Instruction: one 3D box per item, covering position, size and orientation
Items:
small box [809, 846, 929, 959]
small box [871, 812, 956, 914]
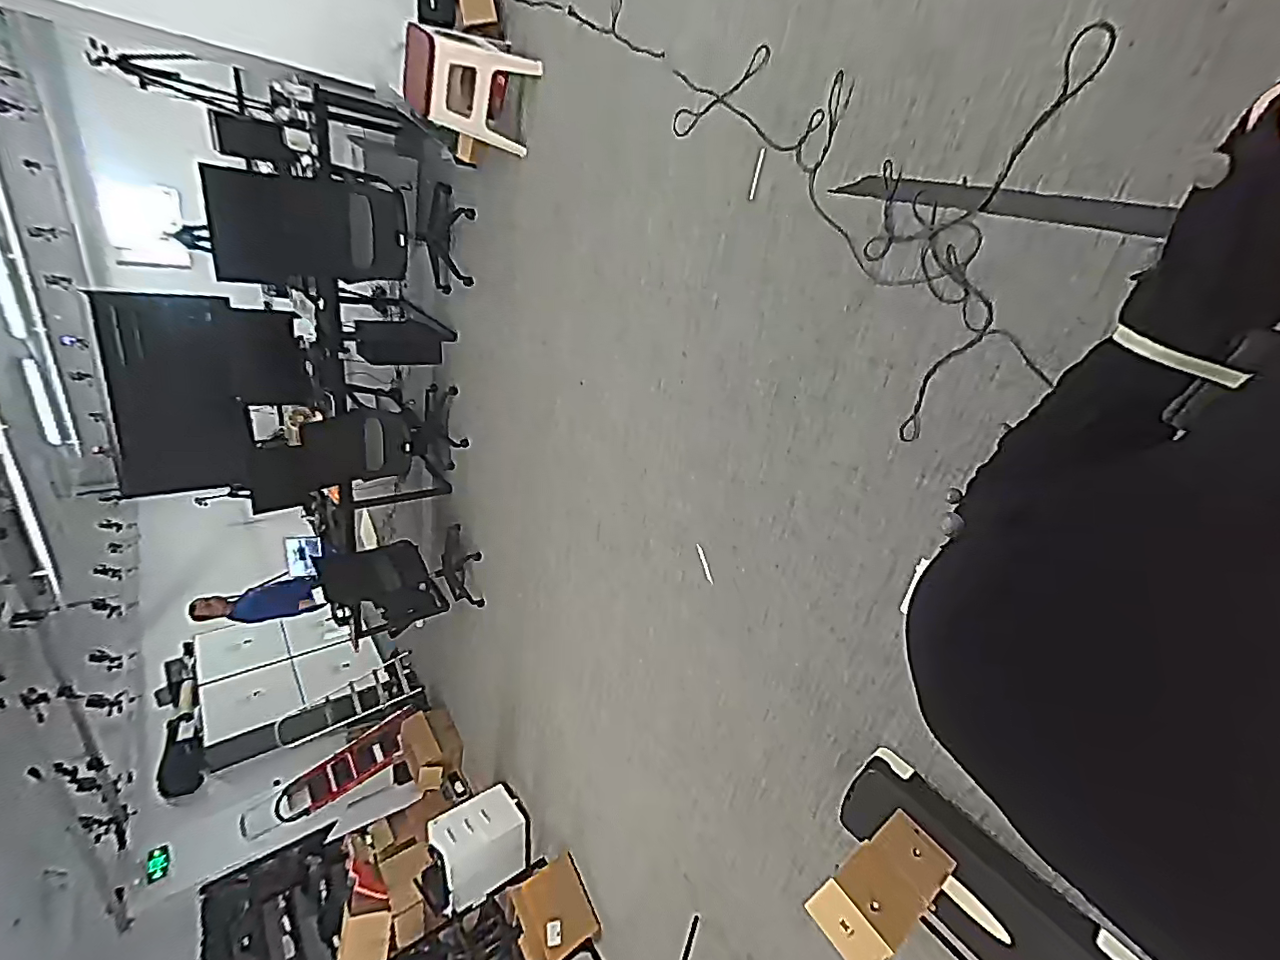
[{"bbox_3d":[0.558,1.040,1.321,0.179,0.176,0.168,42,129,36],"label":"small box"},{"bbox_3d":[0.690,1.019,1.413,0.168,0.176,0.179,40,129,39],"label":"small box"}]
